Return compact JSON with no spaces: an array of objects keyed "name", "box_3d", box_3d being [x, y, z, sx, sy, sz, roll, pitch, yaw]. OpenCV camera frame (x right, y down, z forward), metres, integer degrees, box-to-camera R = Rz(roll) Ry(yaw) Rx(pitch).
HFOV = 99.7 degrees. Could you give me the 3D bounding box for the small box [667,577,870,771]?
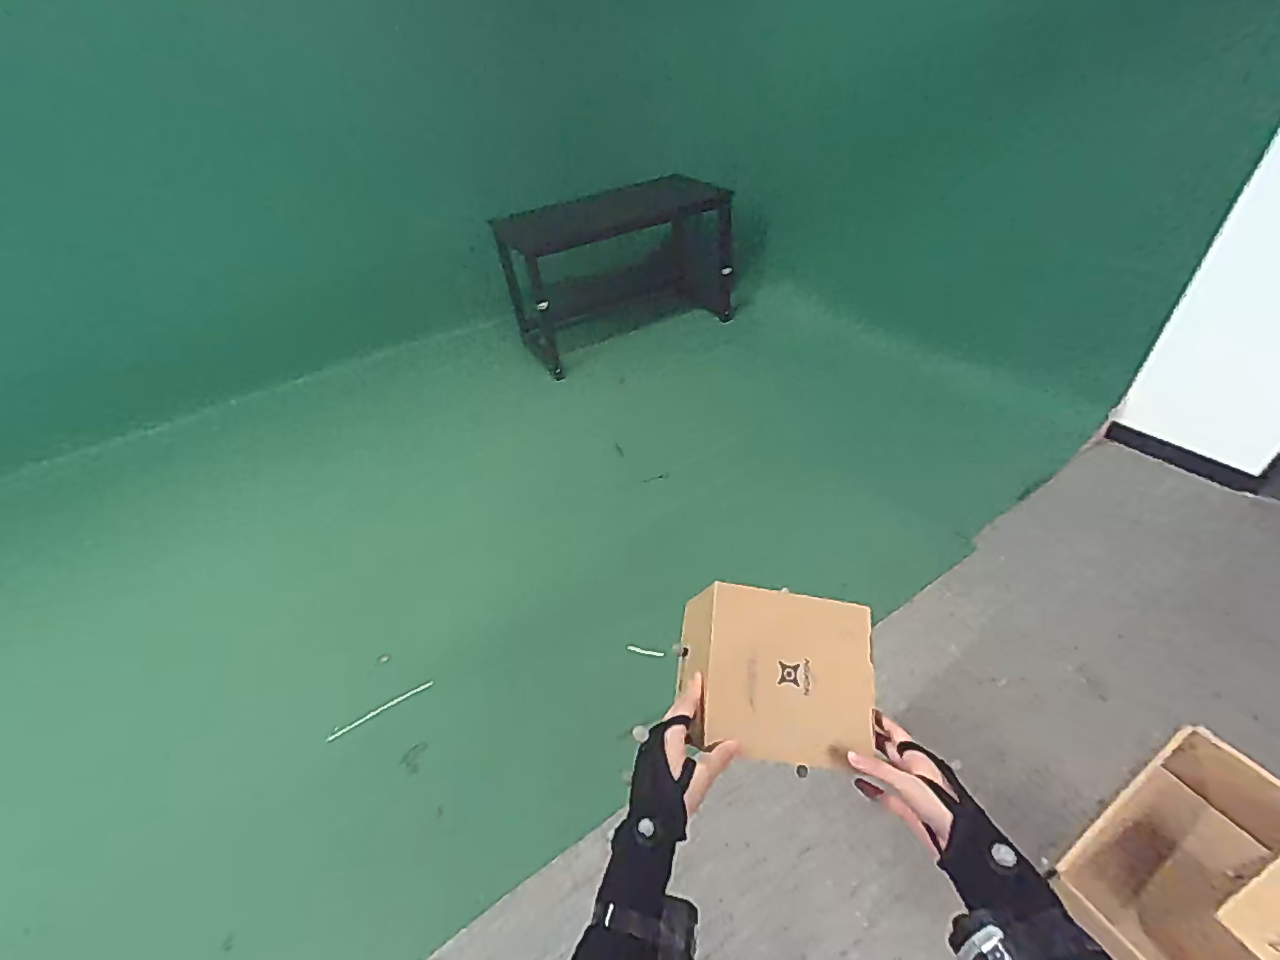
[{"name":"small box","box_3d":[0.139,0.220,0.619,0.179,0.176,0.168,10,67,-4]}]
